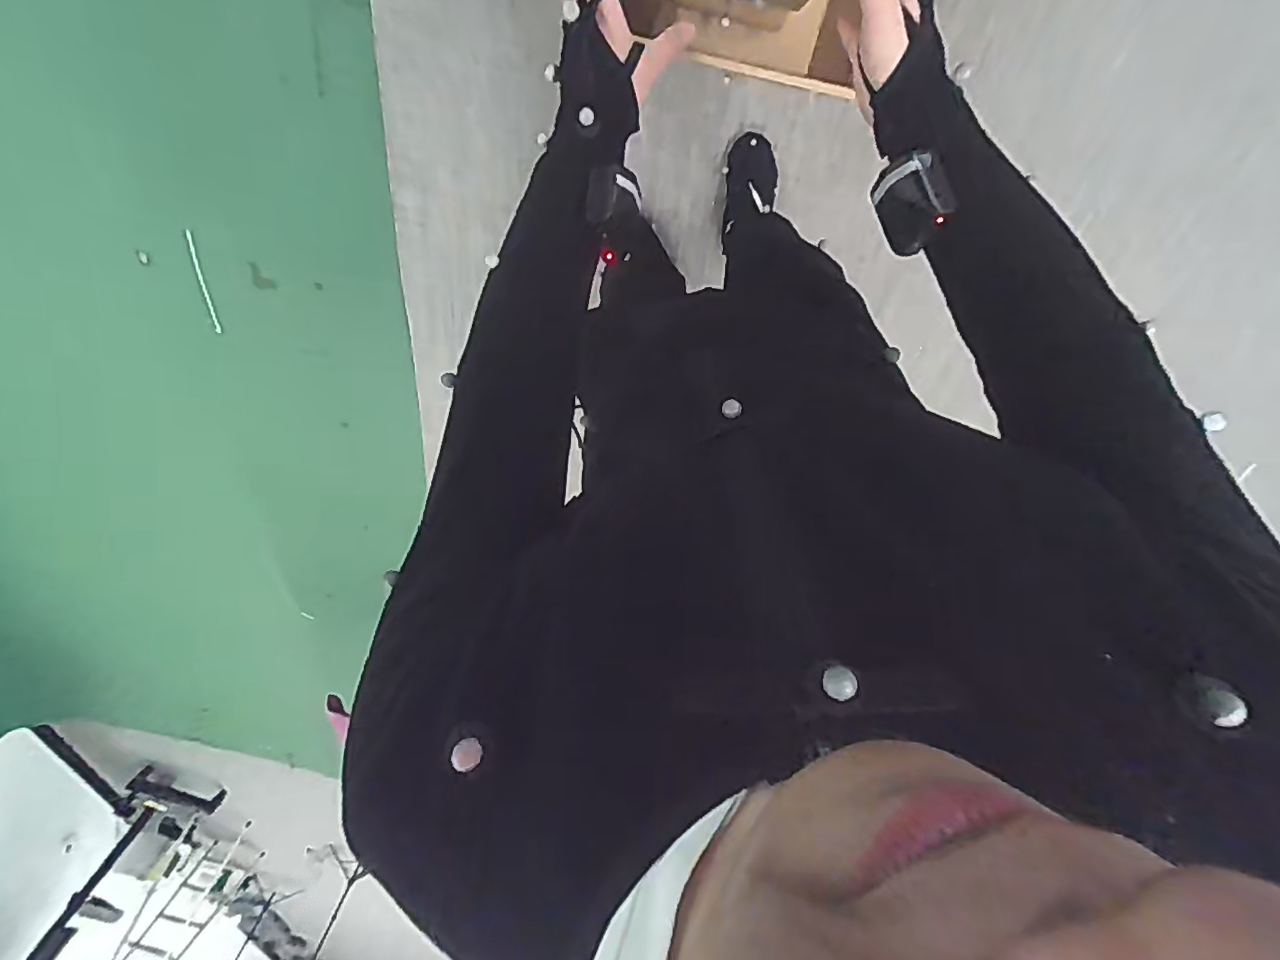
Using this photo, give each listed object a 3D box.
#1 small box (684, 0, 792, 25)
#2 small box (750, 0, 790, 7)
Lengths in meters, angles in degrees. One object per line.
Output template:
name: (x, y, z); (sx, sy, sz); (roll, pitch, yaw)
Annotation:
small box: (0.139, -0.731, 0.706); (0.168, 0.176, 0.179); (14, 126, 0)
small box: (0.115, -0.637, 0.574); (0.168, 0.176, 0.179); (14, 127, -1)
